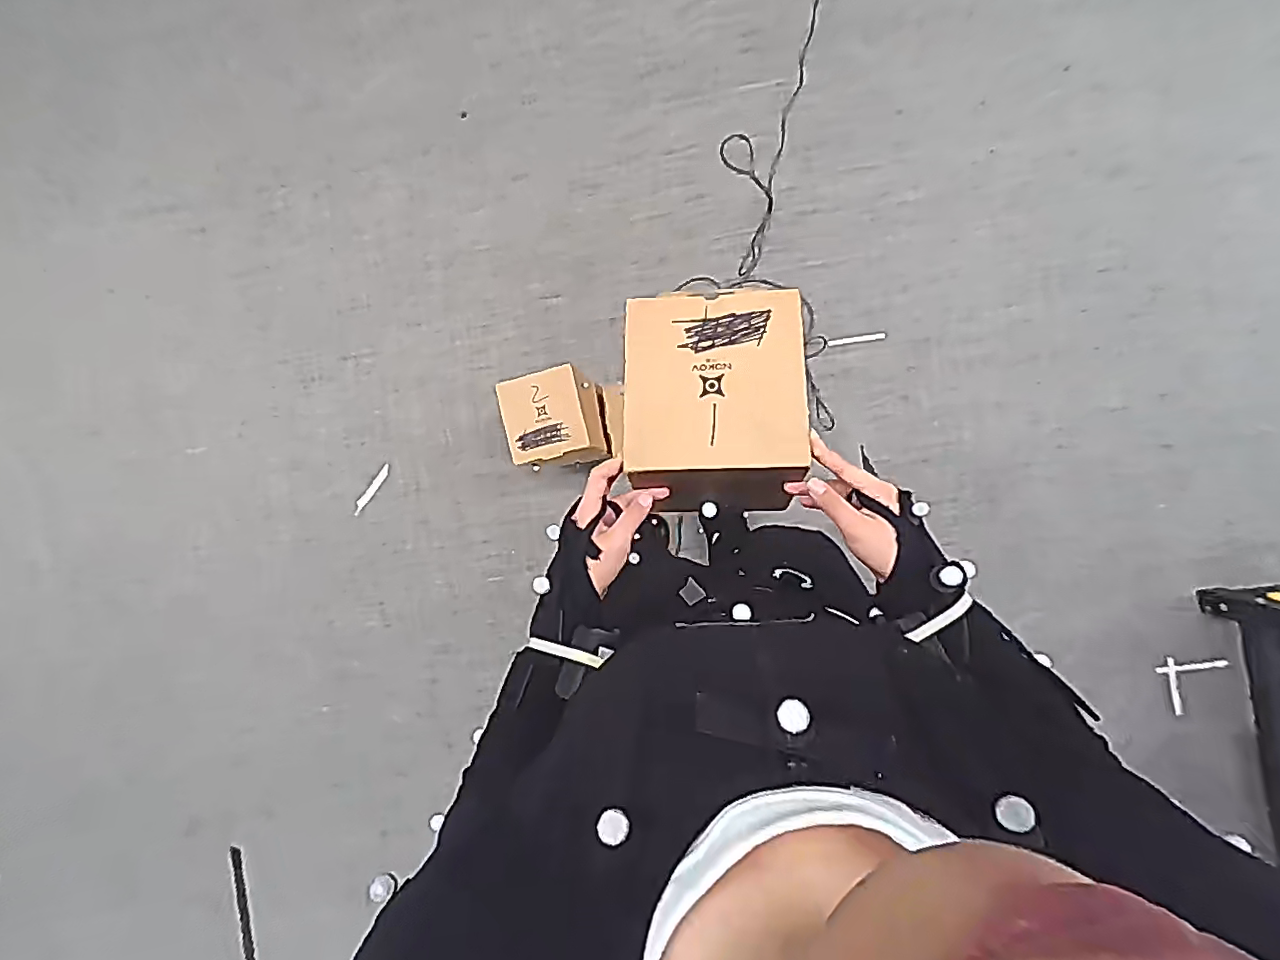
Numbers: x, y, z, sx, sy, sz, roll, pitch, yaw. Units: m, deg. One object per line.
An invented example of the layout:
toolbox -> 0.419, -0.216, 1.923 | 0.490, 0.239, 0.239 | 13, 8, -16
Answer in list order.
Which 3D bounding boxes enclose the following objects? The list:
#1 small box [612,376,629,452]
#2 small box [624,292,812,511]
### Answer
small box -> 0.035, -0.144, 1.235 | 0.168, 0.176, 0.179 | 16, 102, -7
small box -> 0.079, -0.072, 0.569 | 0.168, 0.176, 0.179 | -1, 74, 8
